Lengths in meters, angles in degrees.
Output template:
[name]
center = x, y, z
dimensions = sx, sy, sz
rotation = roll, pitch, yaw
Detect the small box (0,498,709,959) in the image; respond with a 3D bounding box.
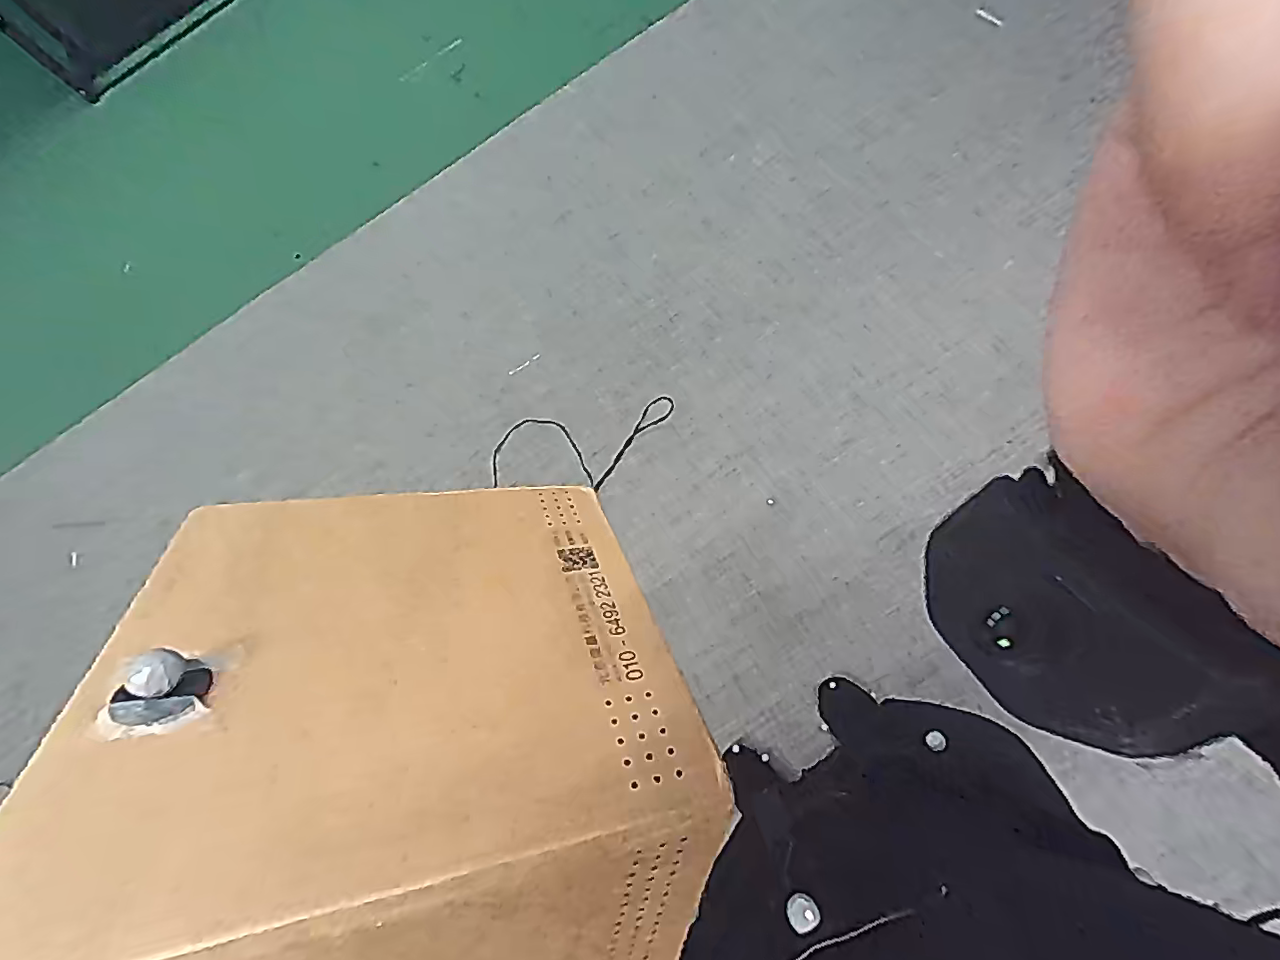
[small box]
center = -0.085, 0.124, 0.232
dimensions = 0.176, 0.179, 0.168
rotation = -4, 31, -20
